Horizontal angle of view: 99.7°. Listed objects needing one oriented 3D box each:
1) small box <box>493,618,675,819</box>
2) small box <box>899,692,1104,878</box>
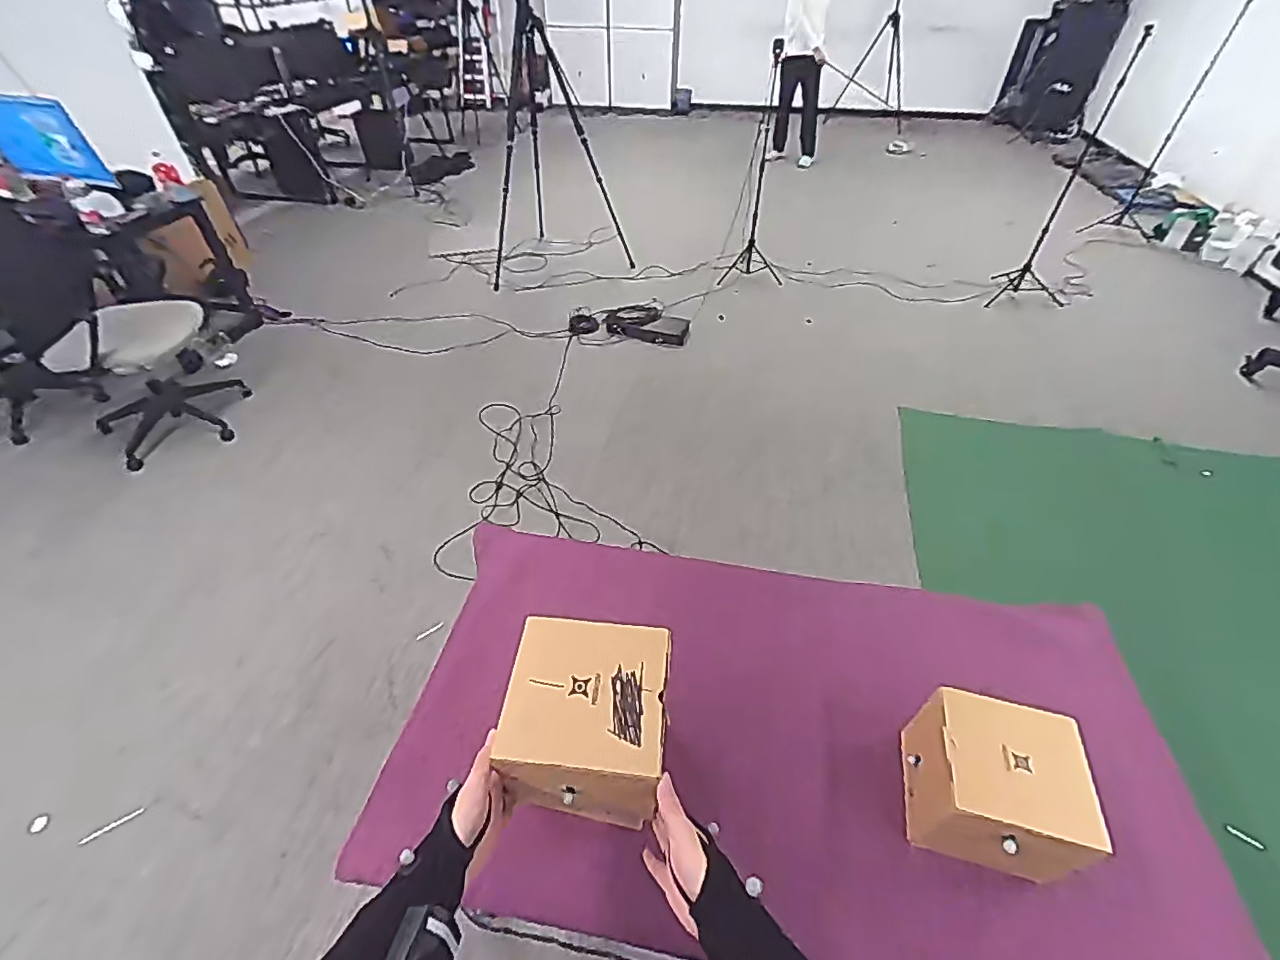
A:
[{"bbox_3d":[-0.056,0.289,0.647,0.179,0.176,0.168,5,45,3],"label":"small box"},{"bbox_3d":[0.490,0.433,0.765,0.179,0.176,0.168,11,45,11],"label":"small box"}]
